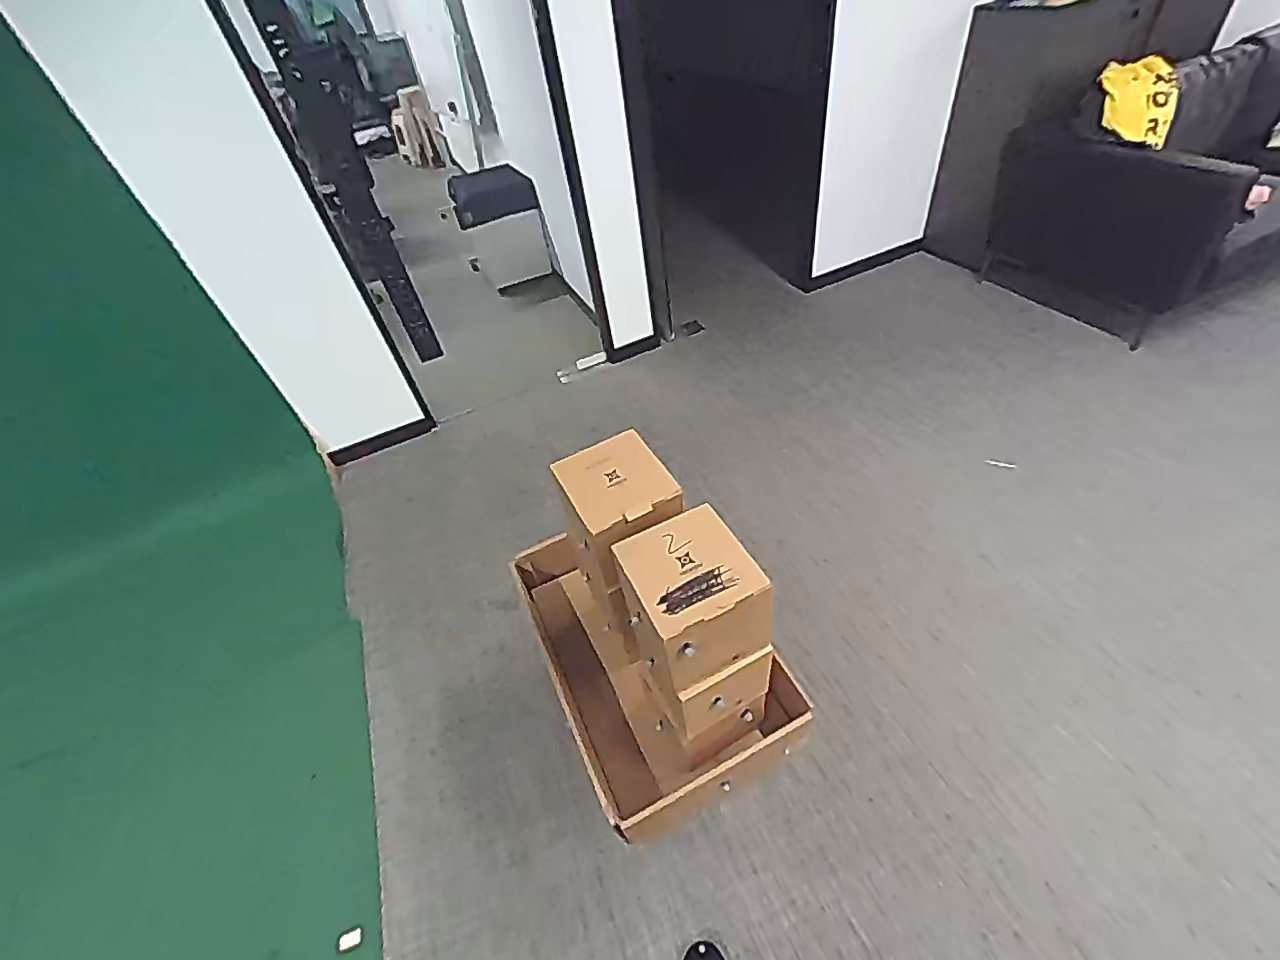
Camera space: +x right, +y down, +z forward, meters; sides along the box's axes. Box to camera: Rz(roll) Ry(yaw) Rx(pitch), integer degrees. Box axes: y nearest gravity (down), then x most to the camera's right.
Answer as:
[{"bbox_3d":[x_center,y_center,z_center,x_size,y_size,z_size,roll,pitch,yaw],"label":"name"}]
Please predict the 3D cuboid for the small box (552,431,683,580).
[{"bbox_3d":[-0.033,0.052,0.950,0.168,0.176,0.179,-24,50,-15],"label":"small box"}]

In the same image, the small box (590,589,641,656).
[{"bbox_3d":[-0.002,0.265,1.196,0.168,0.176,0.179,-26,51,-16],"label":"small box"}]

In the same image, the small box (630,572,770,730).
[{"bbox_3d":[0.103,0.296,0.917,0.168,0.176,0.179,-24,47,-14],"label":"small box"}]

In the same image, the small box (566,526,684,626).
[{"bbox_3d":[-0.023,0.163,1.069,0.168,0.176,0.179,-27,50,-16],"label":"small box"}]
